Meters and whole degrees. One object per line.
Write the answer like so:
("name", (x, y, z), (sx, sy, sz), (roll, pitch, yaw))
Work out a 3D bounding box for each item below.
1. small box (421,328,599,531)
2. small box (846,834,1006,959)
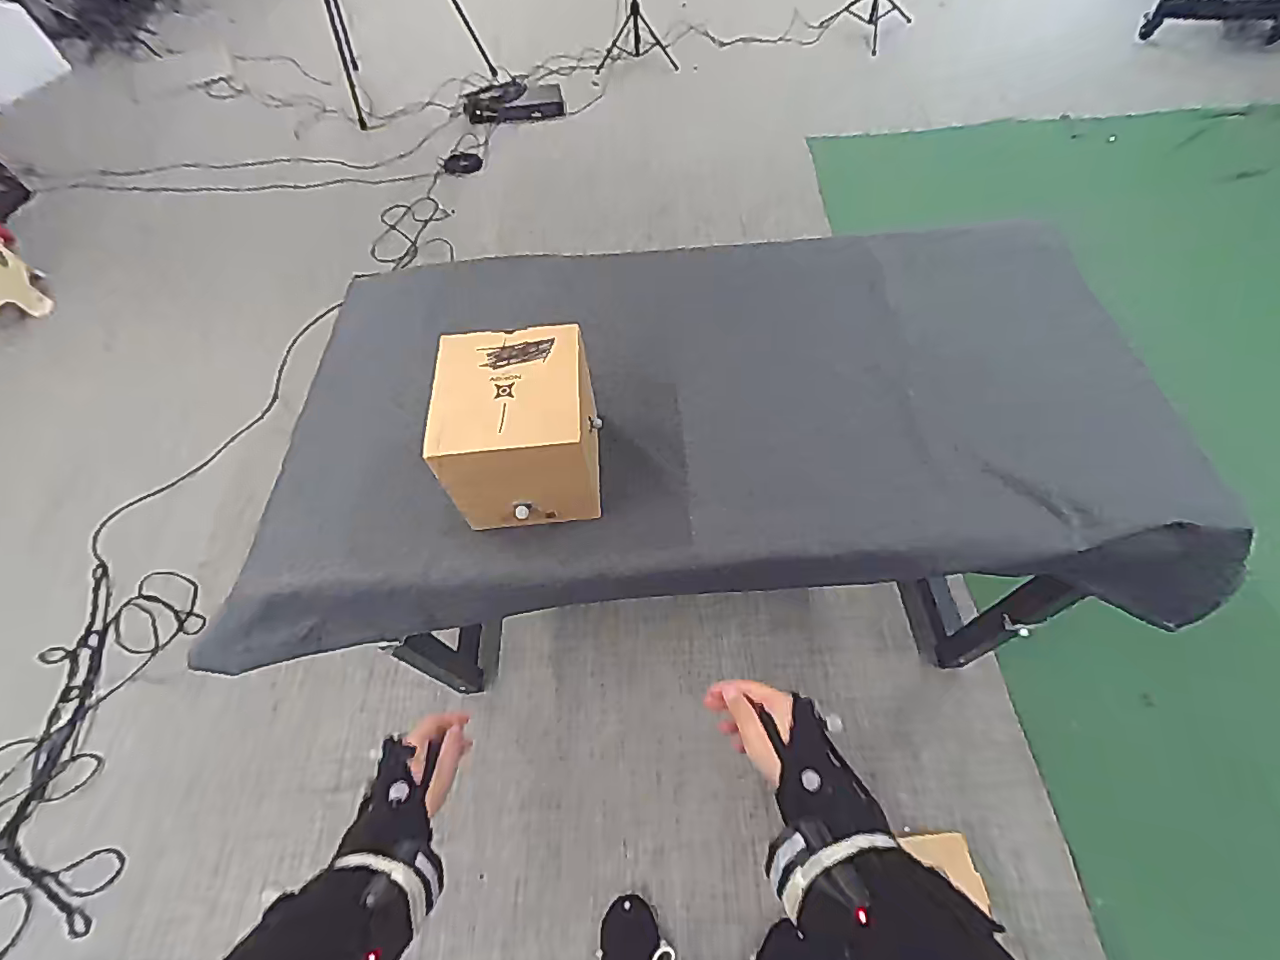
("small box", (-0.143, -0.057, 0.658), (0.168, 0.176, 0.179), (-6, 58, 1))
("small box", (0.496, 0.740, 0.969), (0.179, 0.176, 0.168), (-8, 56, 1))
